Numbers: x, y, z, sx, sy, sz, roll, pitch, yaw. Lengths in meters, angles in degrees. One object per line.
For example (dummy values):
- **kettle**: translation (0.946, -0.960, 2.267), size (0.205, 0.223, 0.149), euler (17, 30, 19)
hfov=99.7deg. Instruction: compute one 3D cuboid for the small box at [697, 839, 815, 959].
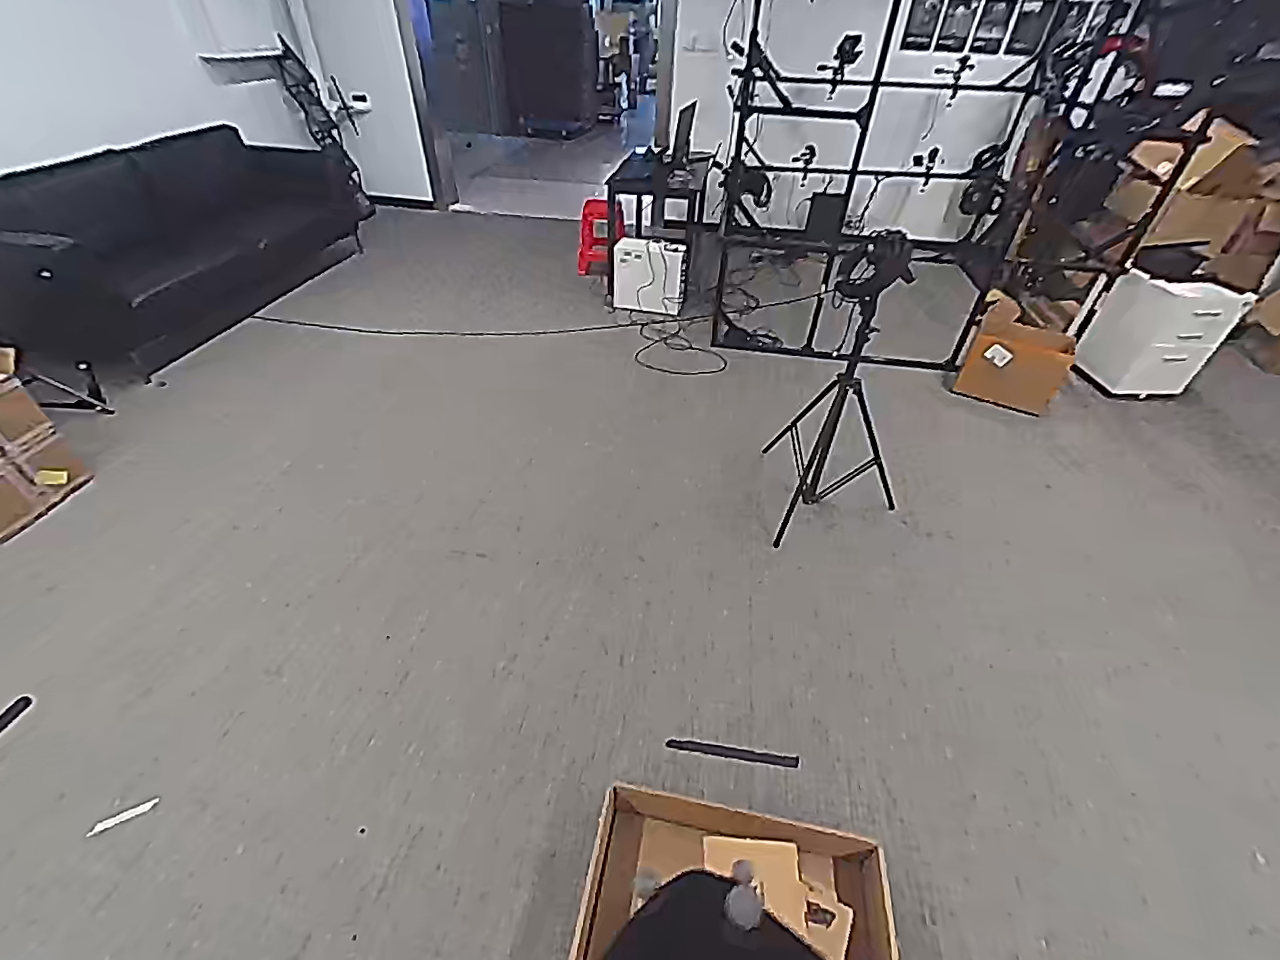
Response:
- **small box**: translation (0.201, 0.785, 0.990), size (0.179, 0.176, 0.168), euler (3, 39, 2)
